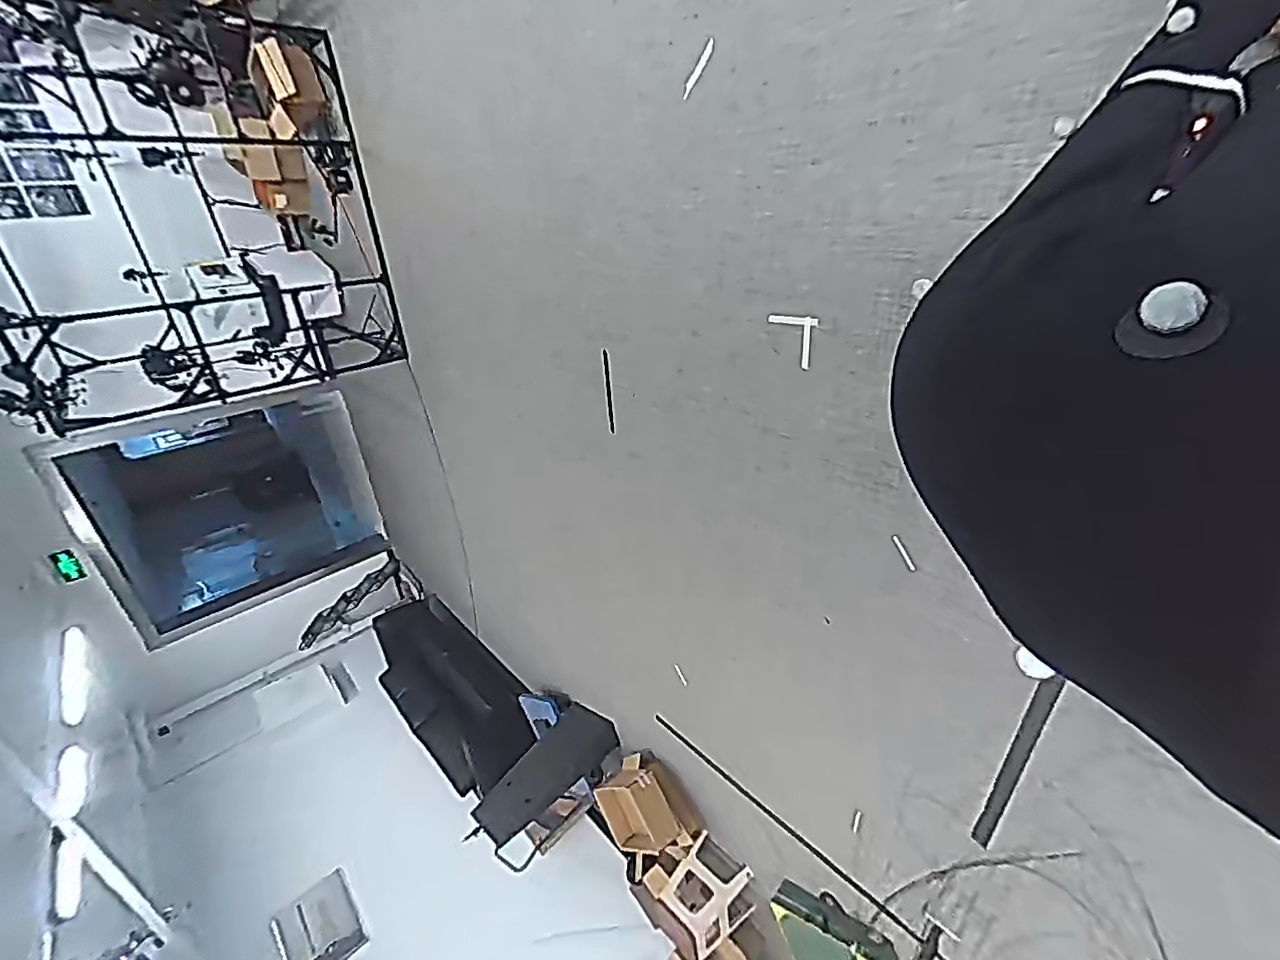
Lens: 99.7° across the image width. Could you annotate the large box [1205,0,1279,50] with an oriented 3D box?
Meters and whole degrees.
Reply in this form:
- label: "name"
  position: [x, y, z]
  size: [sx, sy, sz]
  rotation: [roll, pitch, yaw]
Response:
- label: "large box"
  position: [0.997, -0.757, 0.625]
  size: [0.408, 0.320, 0.320]
  rotation: [23, 127, 43]
